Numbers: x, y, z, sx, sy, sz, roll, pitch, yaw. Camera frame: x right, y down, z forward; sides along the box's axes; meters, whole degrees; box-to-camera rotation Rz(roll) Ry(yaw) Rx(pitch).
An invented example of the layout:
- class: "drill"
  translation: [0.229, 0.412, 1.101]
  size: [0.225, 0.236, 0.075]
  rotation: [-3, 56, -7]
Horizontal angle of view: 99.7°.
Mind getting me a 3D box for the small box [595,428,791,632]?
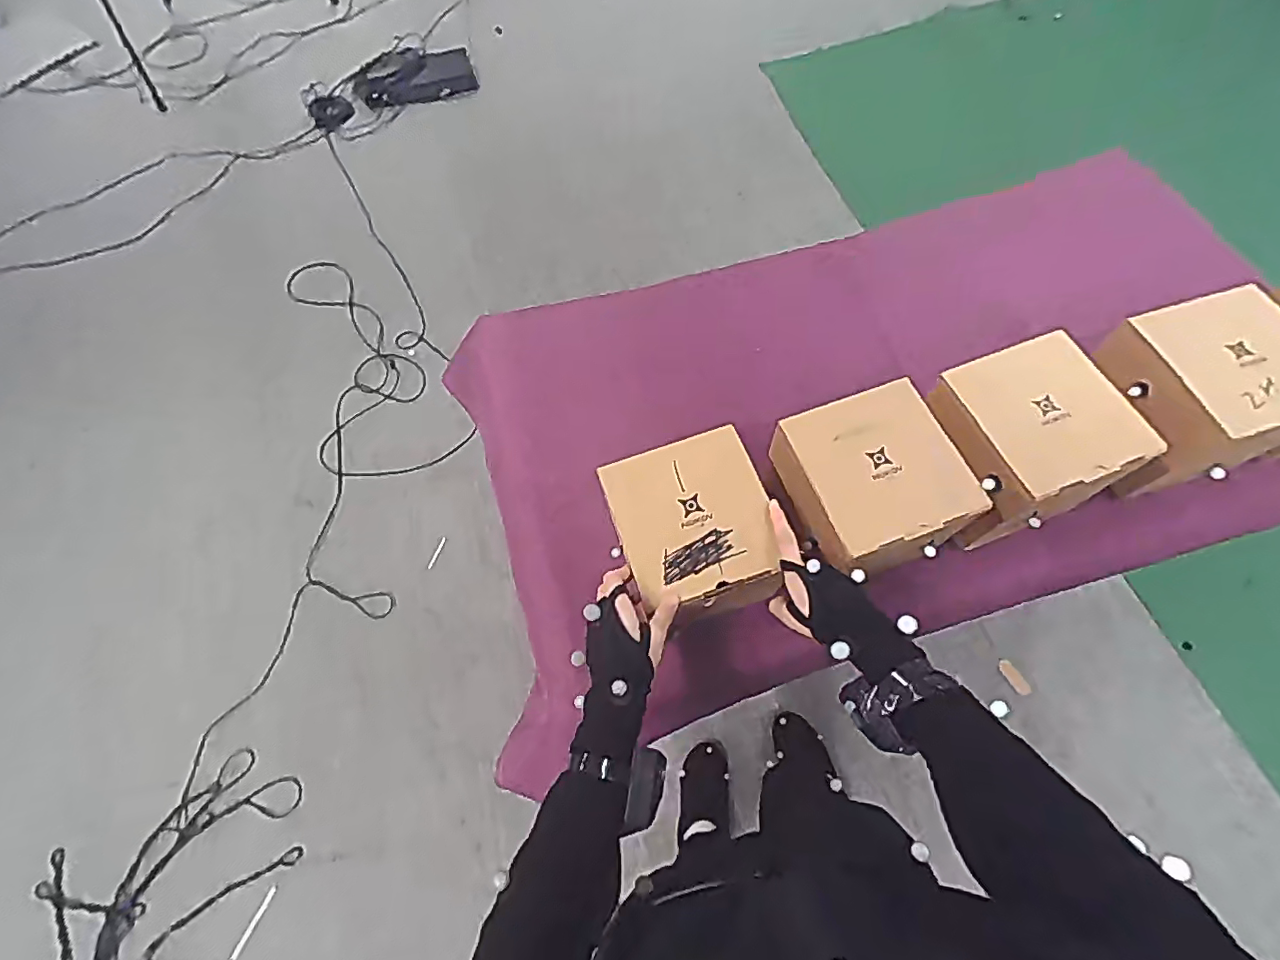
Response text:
- class: "small box"
  translation: [0.059, 0.071, 0.645]
  size: [0.168, 0.176, 0.179]
  rotation: [-19, 66, -4]
